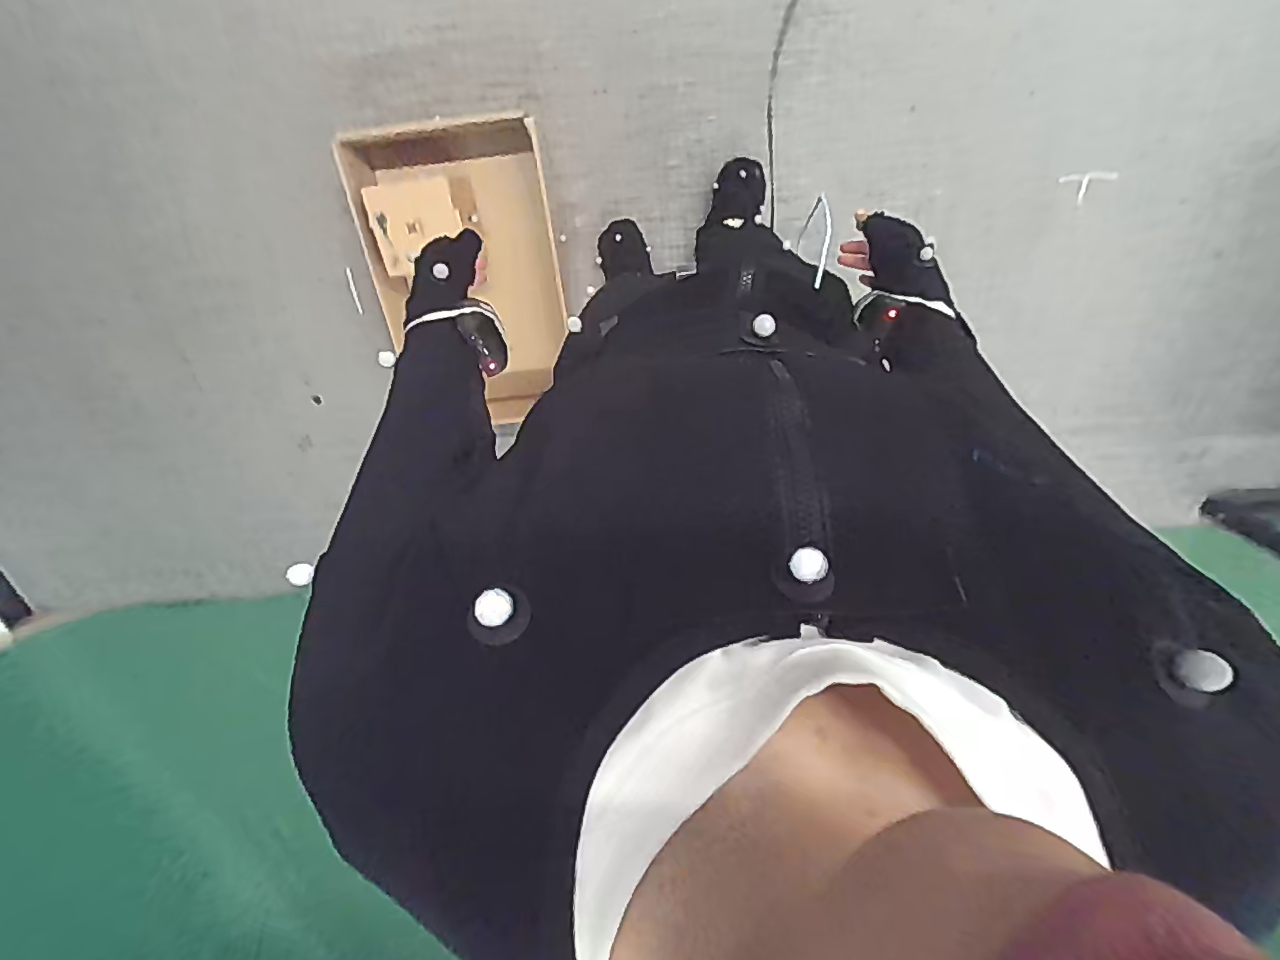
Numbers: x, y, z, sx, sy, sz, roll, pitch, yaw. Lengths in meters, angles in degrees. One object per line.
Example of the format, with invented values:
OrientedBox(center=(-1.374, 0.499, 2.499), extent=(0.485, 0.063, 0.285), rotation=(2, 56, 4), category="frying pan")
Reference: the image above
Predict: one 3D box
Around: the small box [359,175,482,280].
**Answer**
OrientedBox(center=(-0.449, -0.538, 1.146), extent=(0.179, 0.176, 0.168), rotation=(-9, 120, 5), category="small box")
